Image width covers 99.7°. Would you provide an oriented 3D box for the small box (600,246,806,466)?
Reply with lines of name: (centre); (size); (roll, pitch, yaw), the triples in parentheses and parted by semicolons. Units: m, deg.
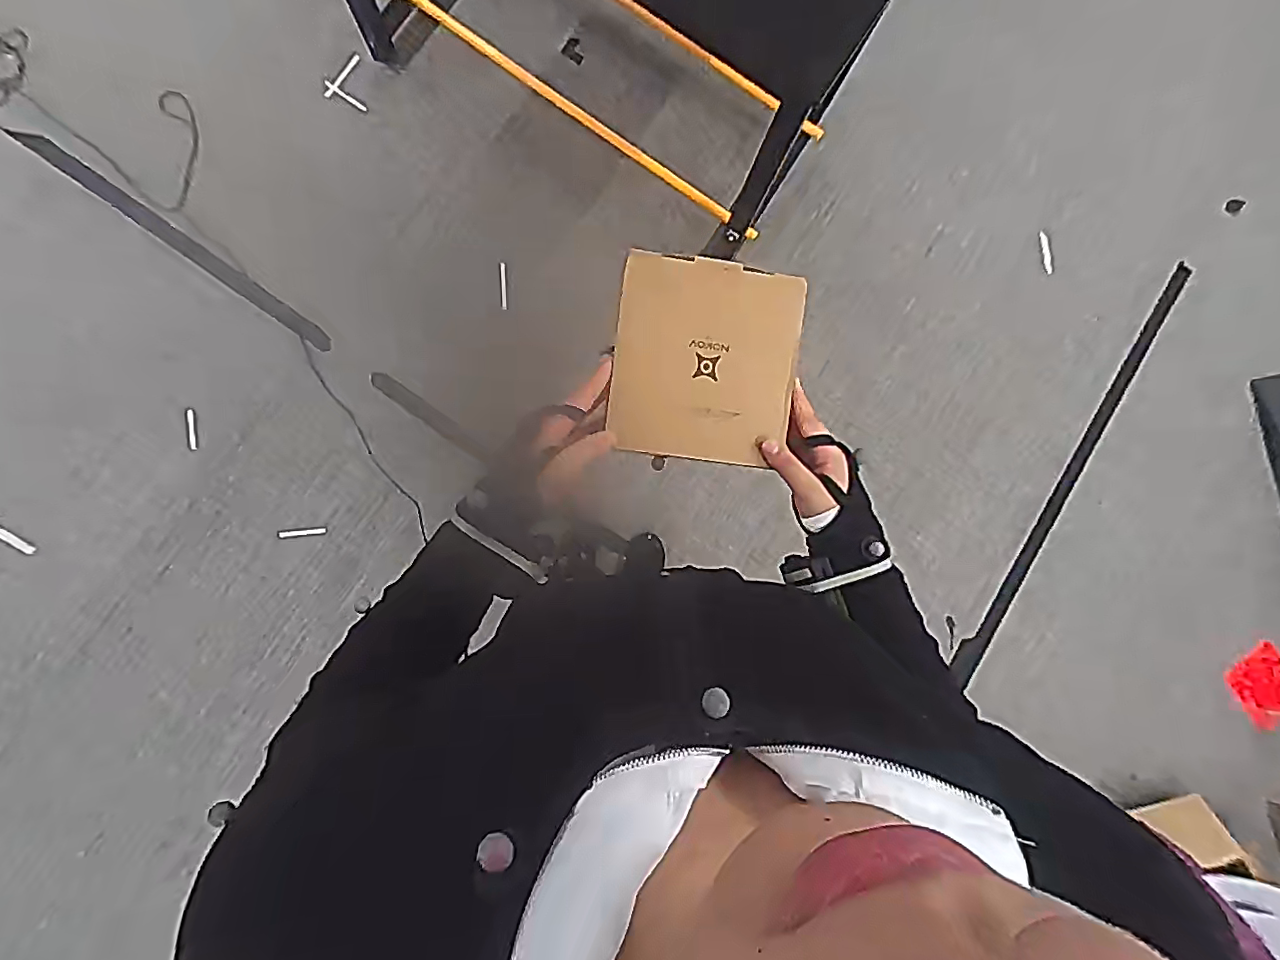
small box: (0.050, -0.113, 0.559); (0.168, 0.176, 0.179); (7, 94, -7)
